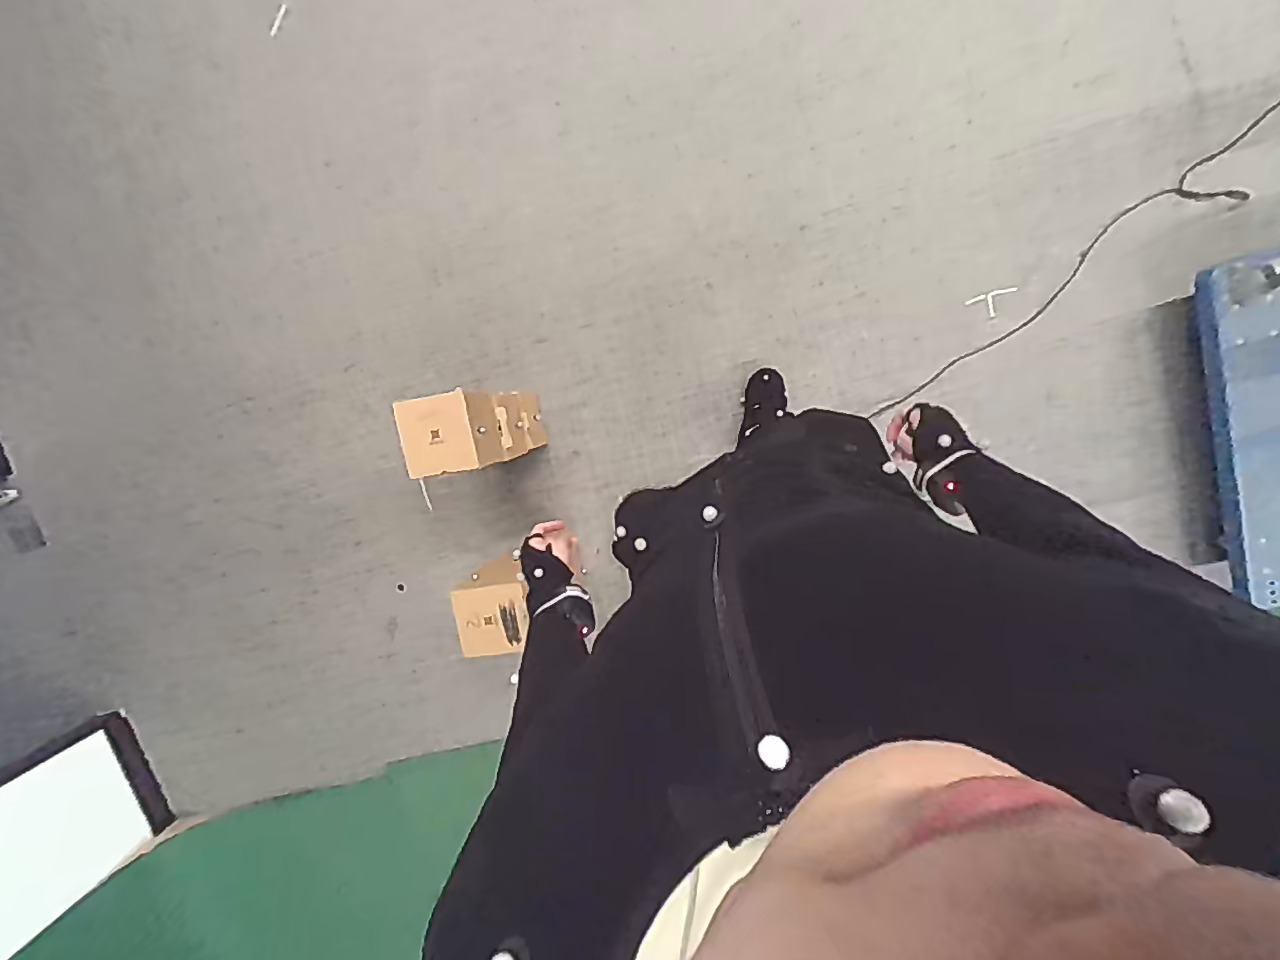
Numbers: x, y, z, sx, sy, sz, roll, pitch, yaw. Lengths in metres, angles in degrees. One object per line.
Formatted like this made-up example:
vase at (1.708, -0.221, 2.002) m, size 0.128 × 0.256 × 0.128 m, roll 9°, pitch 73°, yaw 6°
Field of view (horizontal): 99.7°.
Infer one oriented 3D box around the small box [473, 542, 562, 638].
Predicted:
small box at (-0.326, 0.294, 1.476) m, size 0.168 × 0.176 × 0.179 m, roll 22°, pitch 101°, yaw 0°

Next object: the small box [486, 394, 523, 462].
small box at (-0.425, -0.129, 1.407) m, size 0.179 × 0.176 × 0.168 m, roll -8°, pitch 99°, yaw 7°

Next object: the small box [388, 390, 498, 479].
small box at (-0.442, -0.110, 1.245) m, size 0.168 × 0.176 × 0.179 m, roll -8°, pitch 98°, yaw 6°

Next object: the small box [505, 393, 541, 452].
small box at (-0.399, -0.157, 1.567) m, size 0.179 × 0.176 × 0.168 m, roll -12°, pitch 97°, yaw 7°

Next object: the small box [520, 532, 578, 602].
small box at (-0.293, 0.263, 1.625) m, size 0.179 × 0.176 × 0.168 m, roll -9°, pitch 98°, yaw 8°
